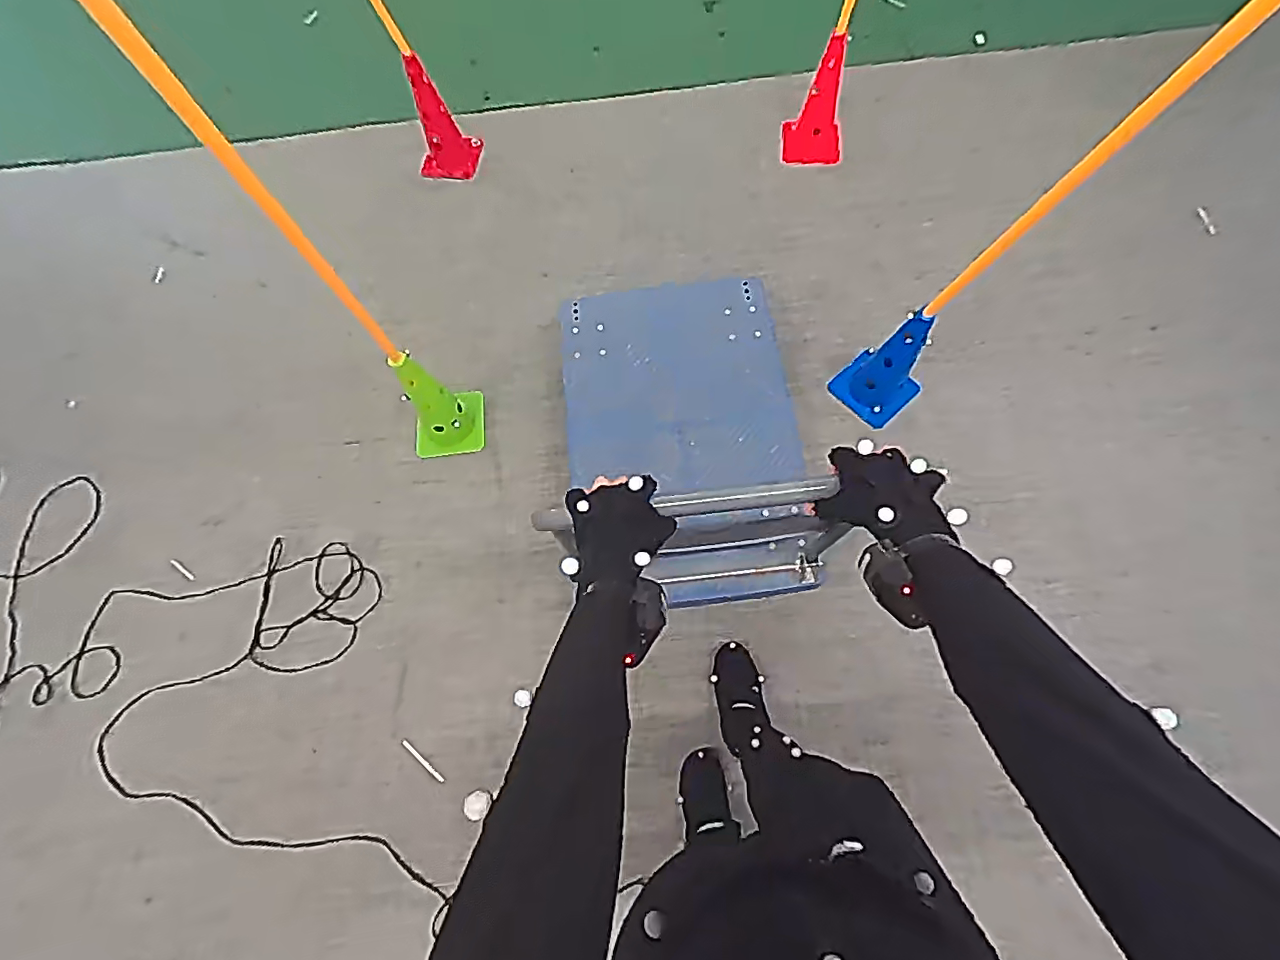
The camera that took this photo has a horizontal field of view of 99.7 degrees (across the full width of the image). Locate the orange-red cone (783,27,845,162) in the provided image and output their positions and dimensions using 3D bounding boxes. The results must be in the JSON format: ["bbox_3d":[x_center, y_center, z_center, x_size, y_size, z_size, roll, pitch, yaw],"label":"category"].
[{"bbox_3d":[0.592,-1.246,1.736,0.198,0.360,0.199,4,72,6],"label":"orange-red cone"}]
